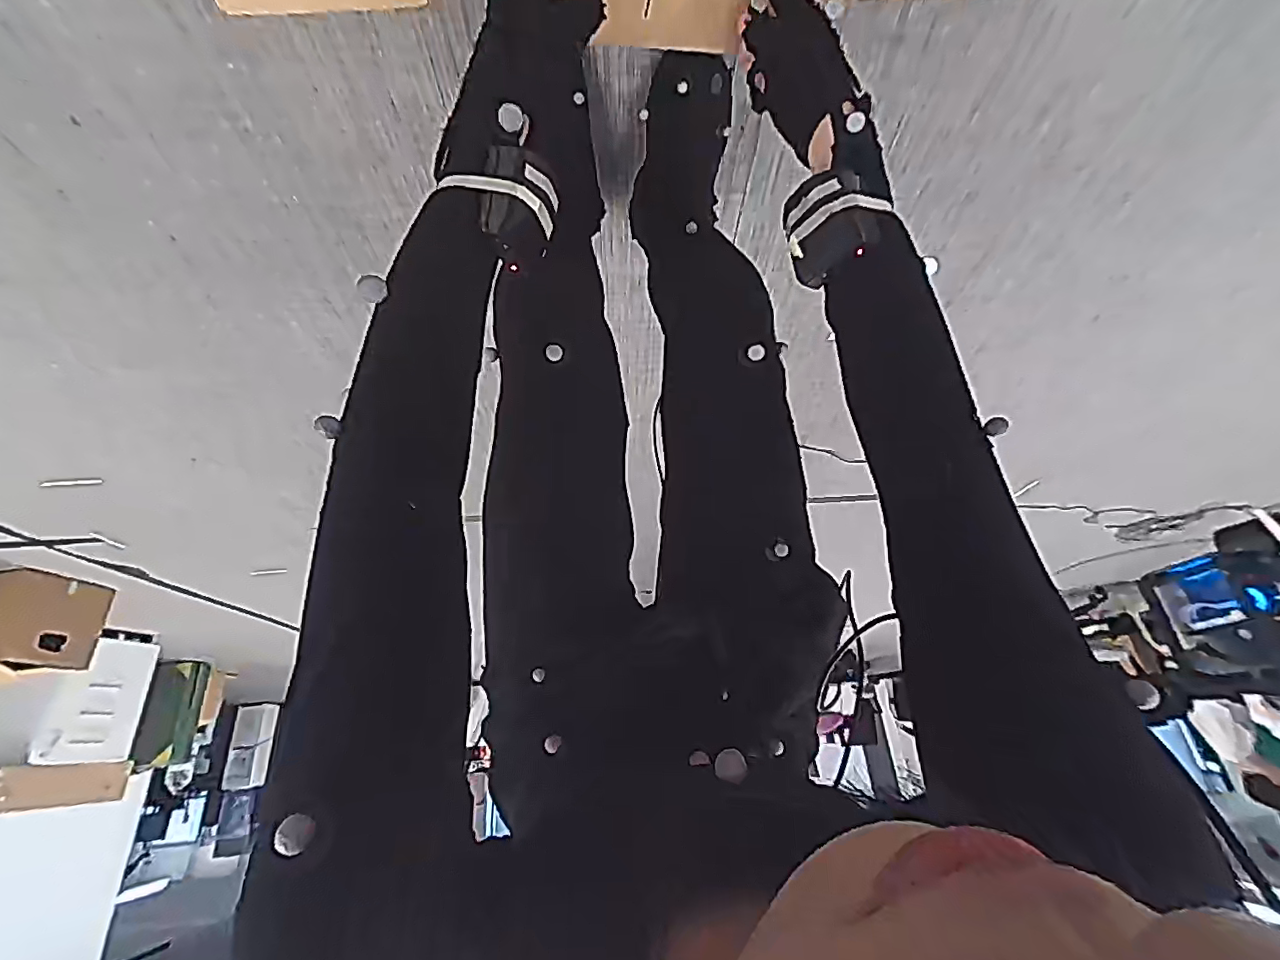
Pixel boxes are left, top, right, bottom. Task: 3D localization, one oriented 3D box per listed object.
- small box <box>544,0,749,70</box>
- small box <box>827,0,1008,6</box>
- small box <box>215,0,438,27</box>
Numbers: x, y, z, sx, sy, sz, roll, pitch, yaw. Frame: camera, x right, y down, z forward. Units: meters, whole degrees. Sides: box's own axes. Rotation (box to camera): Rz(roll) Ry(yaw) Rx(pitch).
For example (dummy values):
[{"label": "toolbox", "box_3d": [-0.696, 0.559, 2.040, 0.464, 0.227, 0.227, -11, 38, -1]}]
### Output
[{"label": "small box", "box_3d": [0.001, -0.471, 0.436, 0.168, 0.176, 0.179, -3, 146, -9]}, {"label": "small box", "box_3d": [0.243, -0.531, 0.442, 0.179, 0.176, 0.168, -5, 155, -2]}, {"label": "small box", "box_3d": [-0.268, -0.497, 0.422, 0.179, 0.176, 0.168, -4, 154, -2]}]
